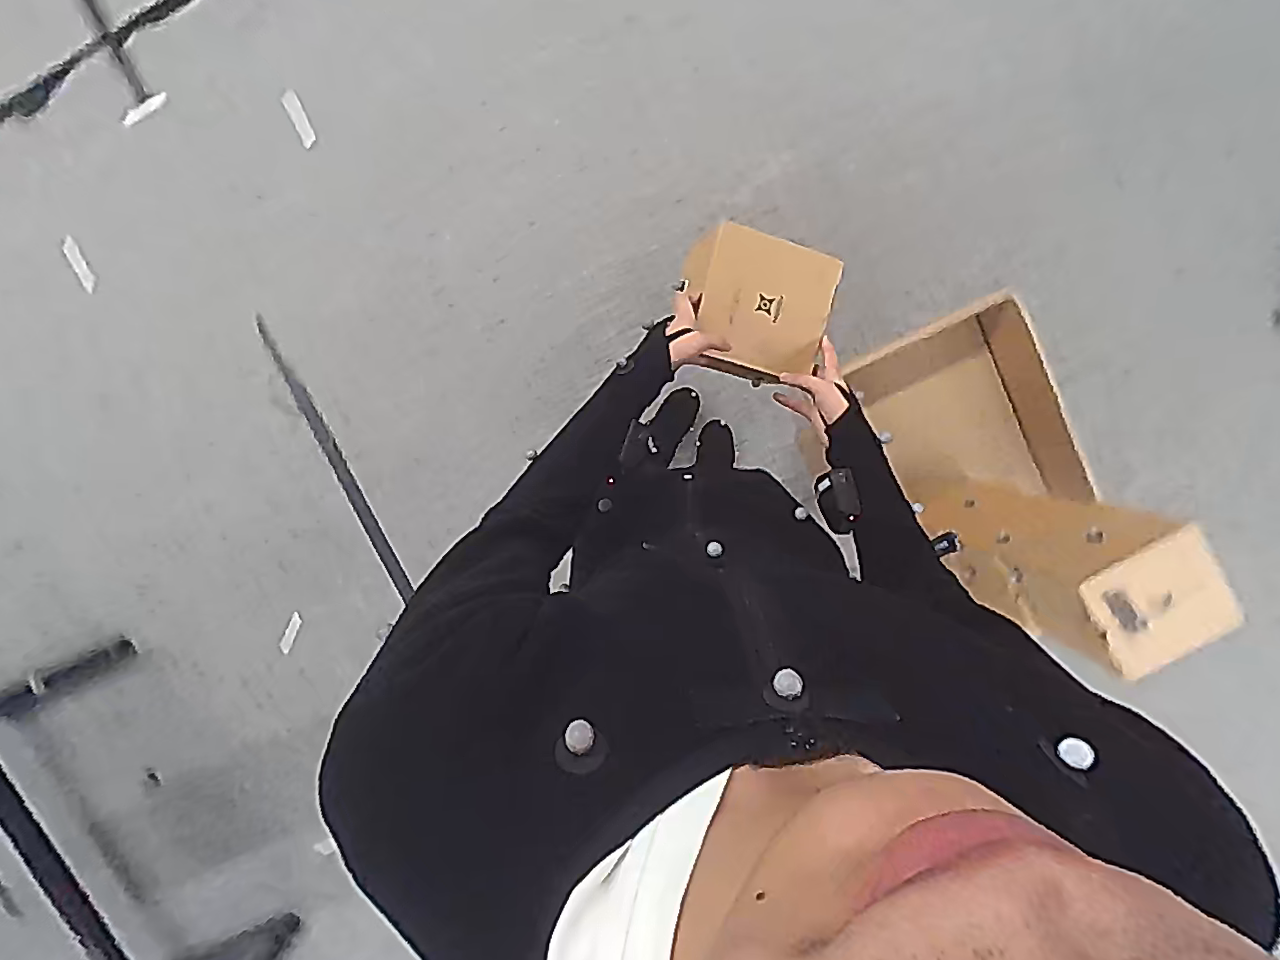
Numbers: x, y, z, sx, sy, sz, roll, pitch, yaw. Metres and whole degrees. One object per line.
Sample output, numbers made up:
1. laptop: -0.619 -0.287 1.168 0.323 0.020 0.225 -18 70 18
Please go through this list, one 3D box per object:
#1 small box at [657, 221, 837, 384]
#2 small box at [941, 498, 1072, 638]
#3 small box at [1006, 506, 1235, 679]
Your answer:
1. small box: 0.140 -0.238 0.768 0.179 0.176 0.168 12 98 -13
2. small box: 0.695 0.148 0.980 0.179 0.176 0.168 -28 96 5
3. small box: 0.699 0.158 0.815 0.179 0.176 0.168 -31 96 5
